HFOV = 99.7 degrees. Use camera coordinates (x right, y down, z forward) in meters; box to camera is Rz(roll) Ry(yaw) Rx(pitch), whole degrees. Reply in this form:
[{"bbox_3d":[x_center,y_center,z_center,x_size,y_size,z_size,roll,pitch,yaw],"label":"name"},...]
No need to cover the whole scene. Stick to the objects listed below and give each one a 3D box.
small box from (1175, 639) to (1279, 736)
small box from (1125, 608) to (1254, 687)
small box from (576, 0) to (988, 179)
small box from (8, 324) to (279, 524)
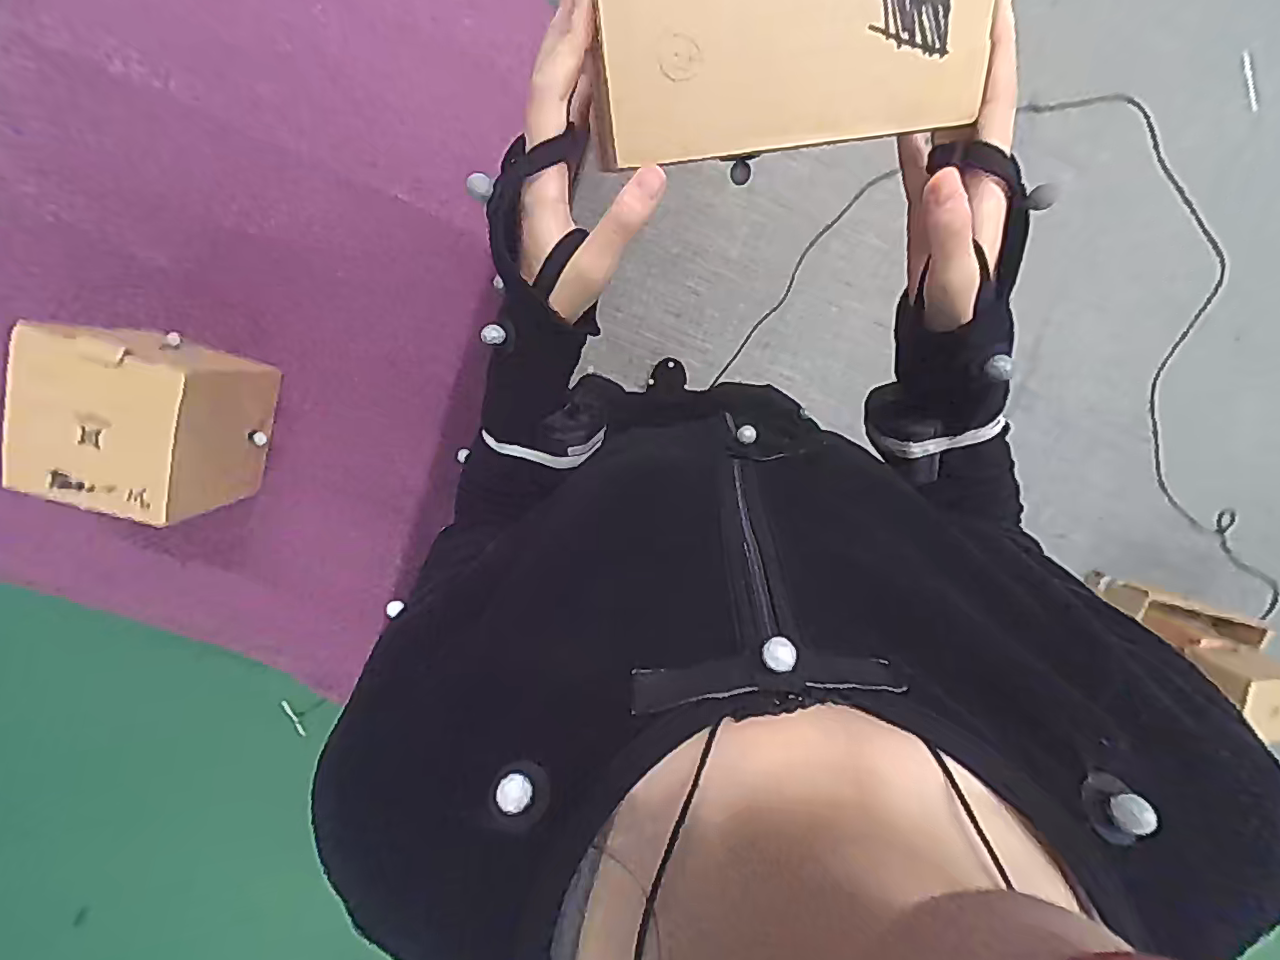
[{"bbox_3d":[1.553,0.533,1.398,0.168,0.176,0.179,-1,104,0],"label":"small box"},{"bbox_3d":[1.568,0.492,1.555,0.168,0.176,0.179,15,103,-4],"label":"small box"},{"bbox_3d":[0.056,-0.265,0.287,0.179,0.176,0.168,-8,120,-2],"label":"small box"},{"bbox_3d":[-0.572,-0.071,0.647,0.168,0.176,0.179,17,101,-6],"label":"small box"}]
